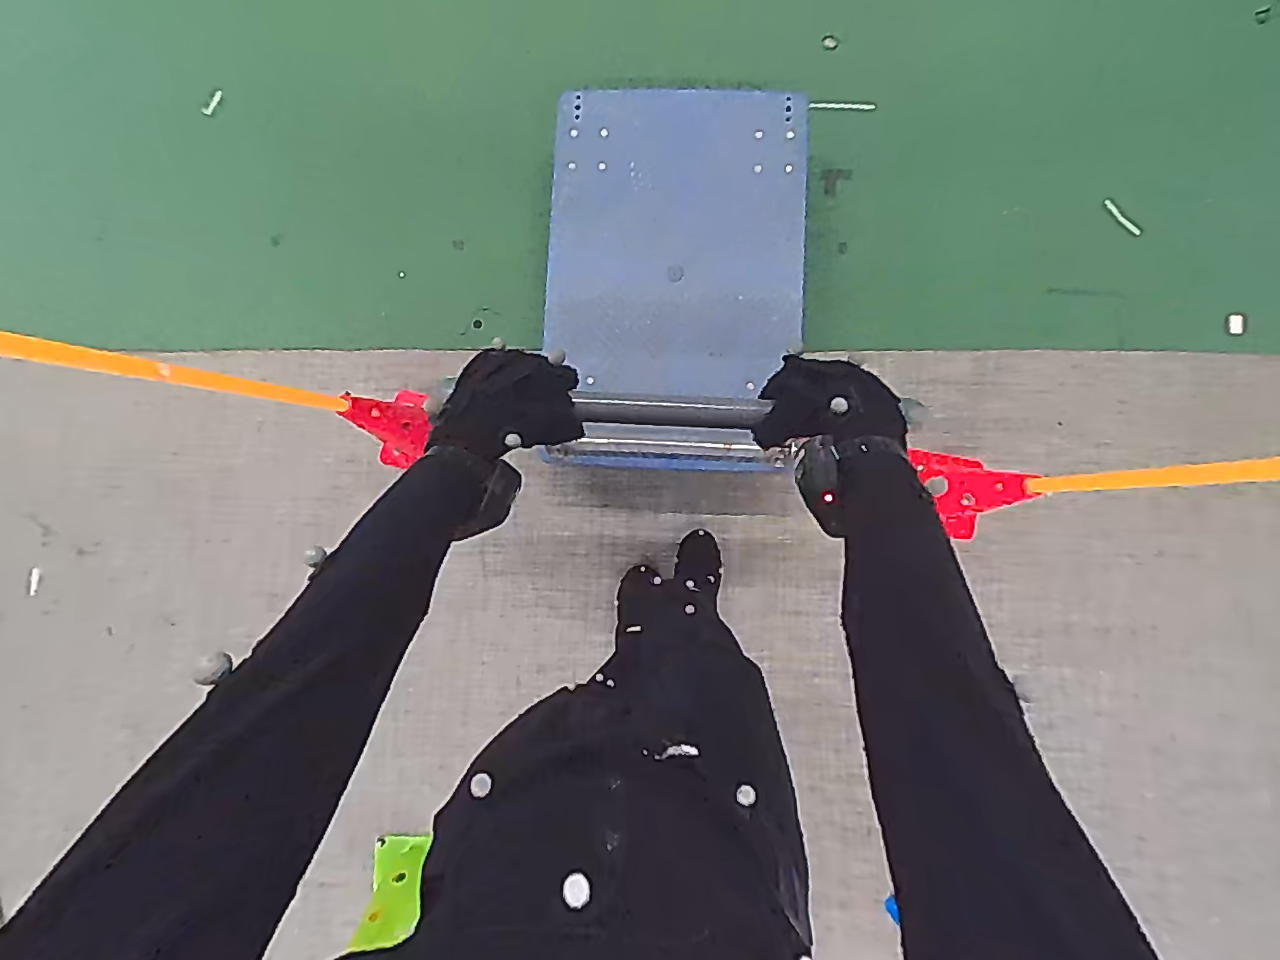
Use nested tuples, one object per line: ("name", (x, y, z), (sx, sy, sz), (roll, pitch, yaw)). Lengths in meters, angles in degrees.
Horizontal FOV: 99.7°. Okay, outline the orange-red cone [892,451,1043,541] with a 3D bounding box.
("orange-red cone", (0.720, 0.026, 1.150), (0.198, 0.360, 0.199), (12, 87, 4))
